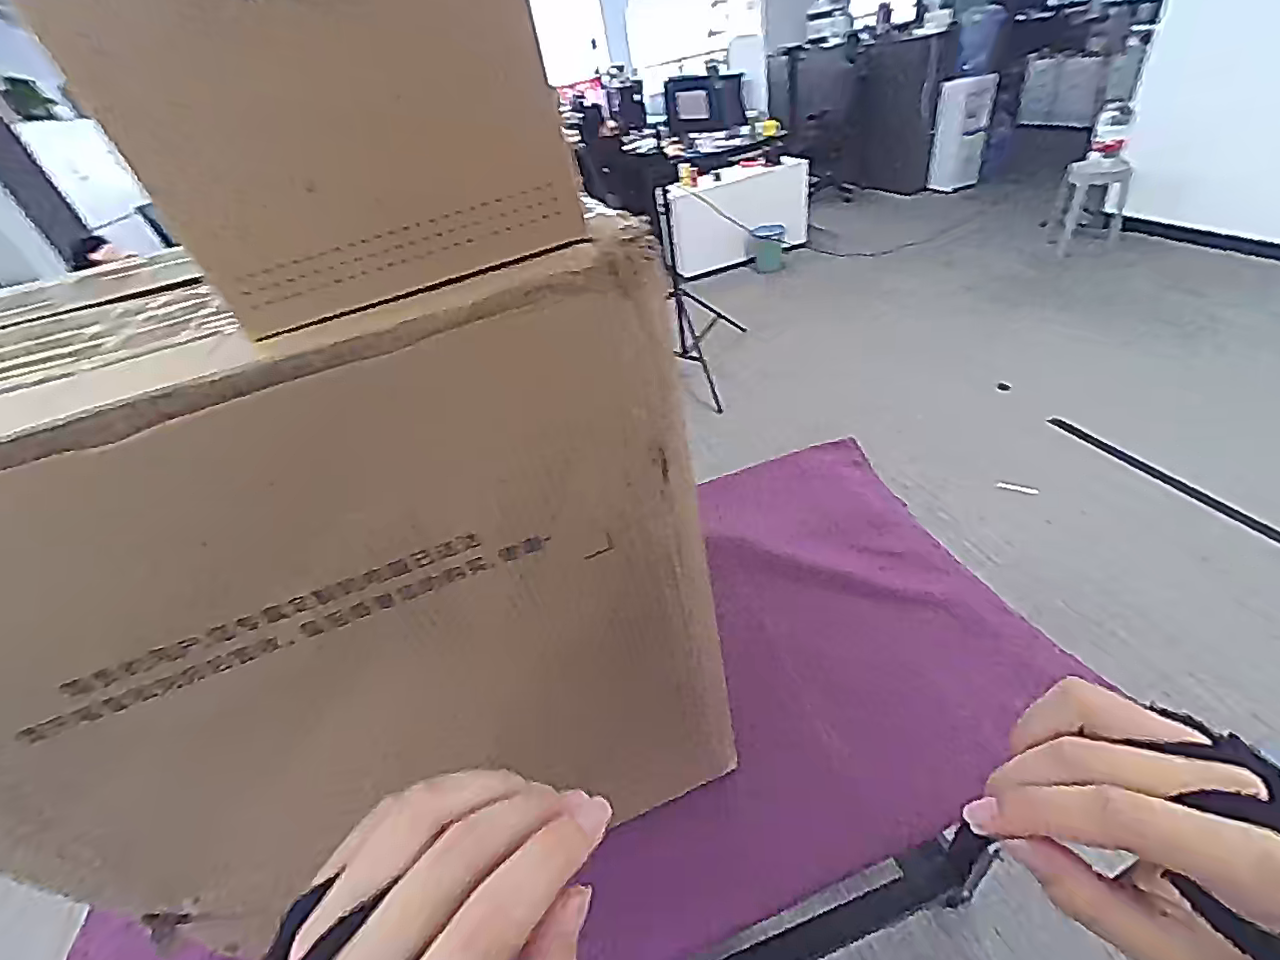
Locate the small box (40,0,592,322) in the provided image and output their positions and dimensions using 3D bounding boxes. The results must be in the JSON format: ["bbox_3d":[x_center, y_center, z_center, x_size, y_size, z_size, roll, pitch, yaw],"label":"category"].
[{"bbox_3d":[-0.141,-0.200,0.273,0.179,0.176,0.168,-20,40,-7],"label":"small box"}]
